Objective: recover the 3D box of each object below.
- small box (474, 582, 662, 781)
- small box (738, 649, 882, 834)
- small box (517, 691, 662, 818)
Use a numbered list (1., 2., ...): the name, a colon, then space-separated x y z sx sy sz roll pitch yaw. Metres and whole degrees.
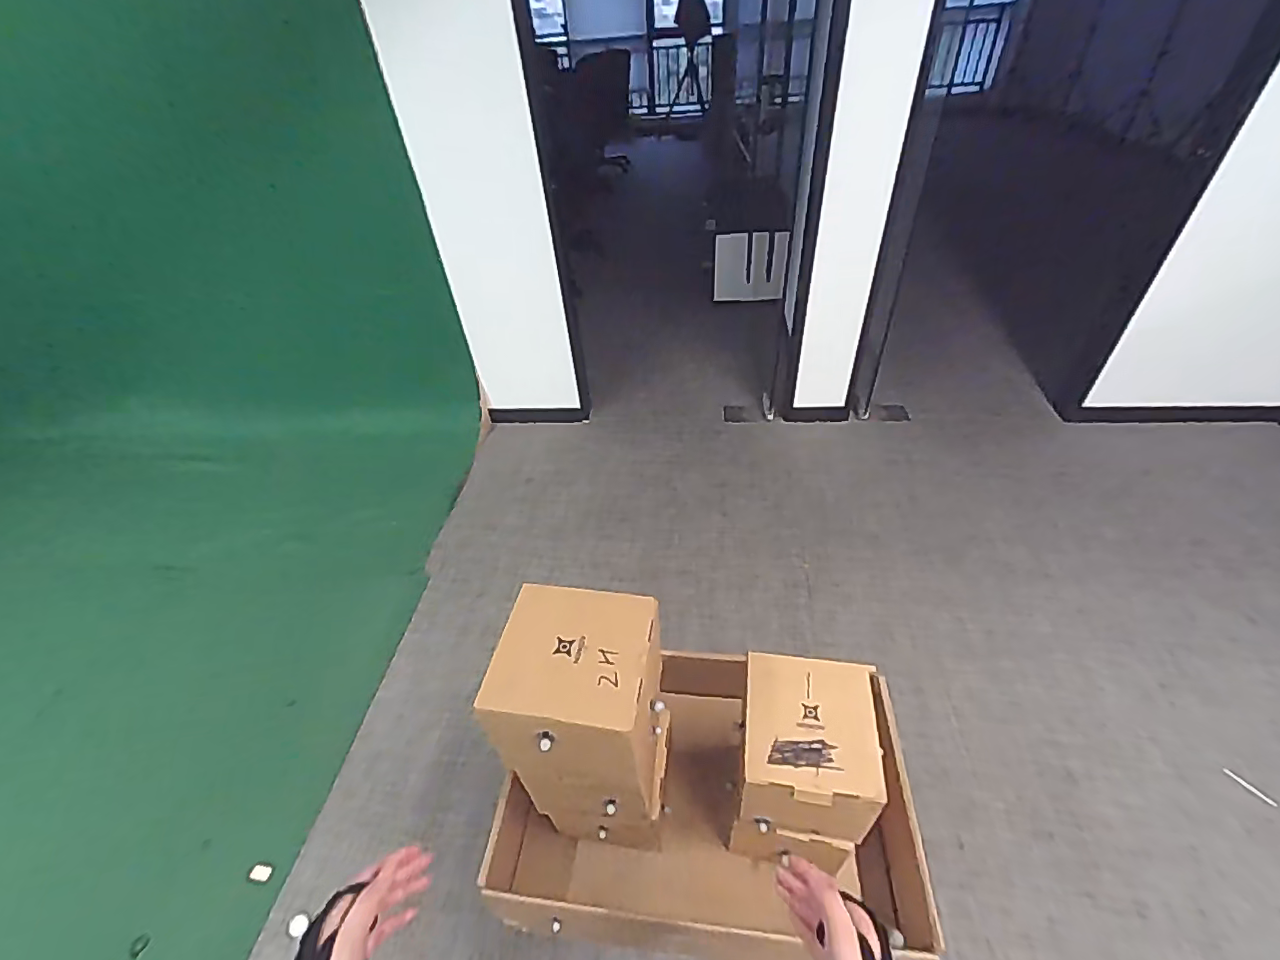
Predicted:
1. small box: -0.074 0.251 0.673 0.179 0.176 0.168 4 44 11
2. small box: 0.226 0.365 0.755 0.168 0.176 0.179 3 42 11
3. small box: -0.059 0.367 0.789 0.168 0.176 0.179 2 43 9
